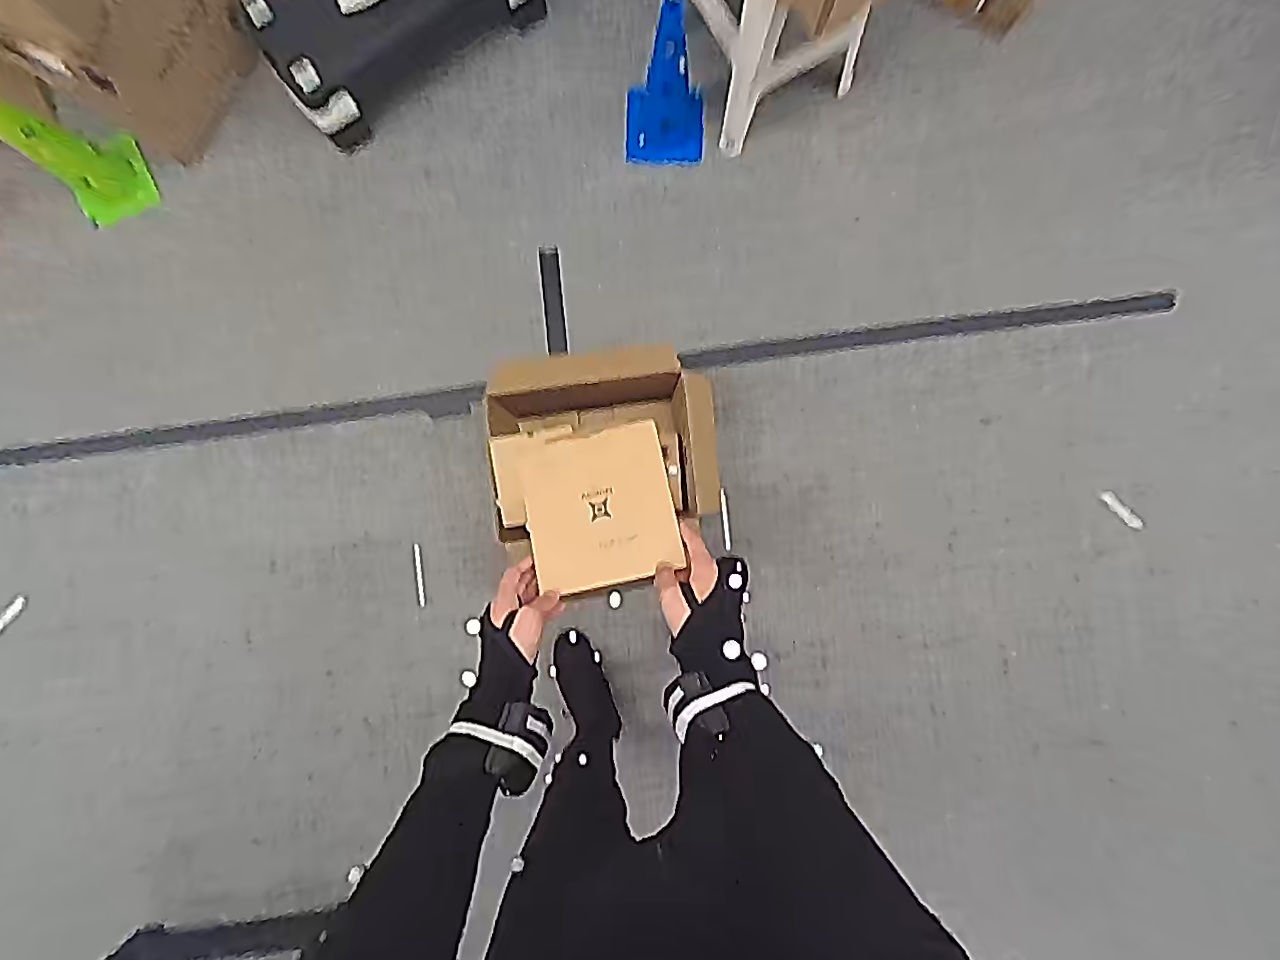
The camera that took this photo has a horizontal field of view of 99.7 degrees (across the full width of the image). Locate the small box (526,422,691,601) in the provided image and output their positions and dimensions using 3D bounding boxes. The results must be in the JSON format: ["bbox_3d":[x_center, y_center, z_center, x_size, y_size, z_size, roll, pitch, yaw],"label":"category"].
[{"bbox_3d":[-0.033,0.050,0.684,0.168,0.176,0.179,-12,75,3],"label":"small box"}]

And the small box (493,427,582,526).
[{"bbox_3d":[-0.192,-0.008,1.121,0.168,0.176,0.179,-8,90,0],"label":"small box"}]
